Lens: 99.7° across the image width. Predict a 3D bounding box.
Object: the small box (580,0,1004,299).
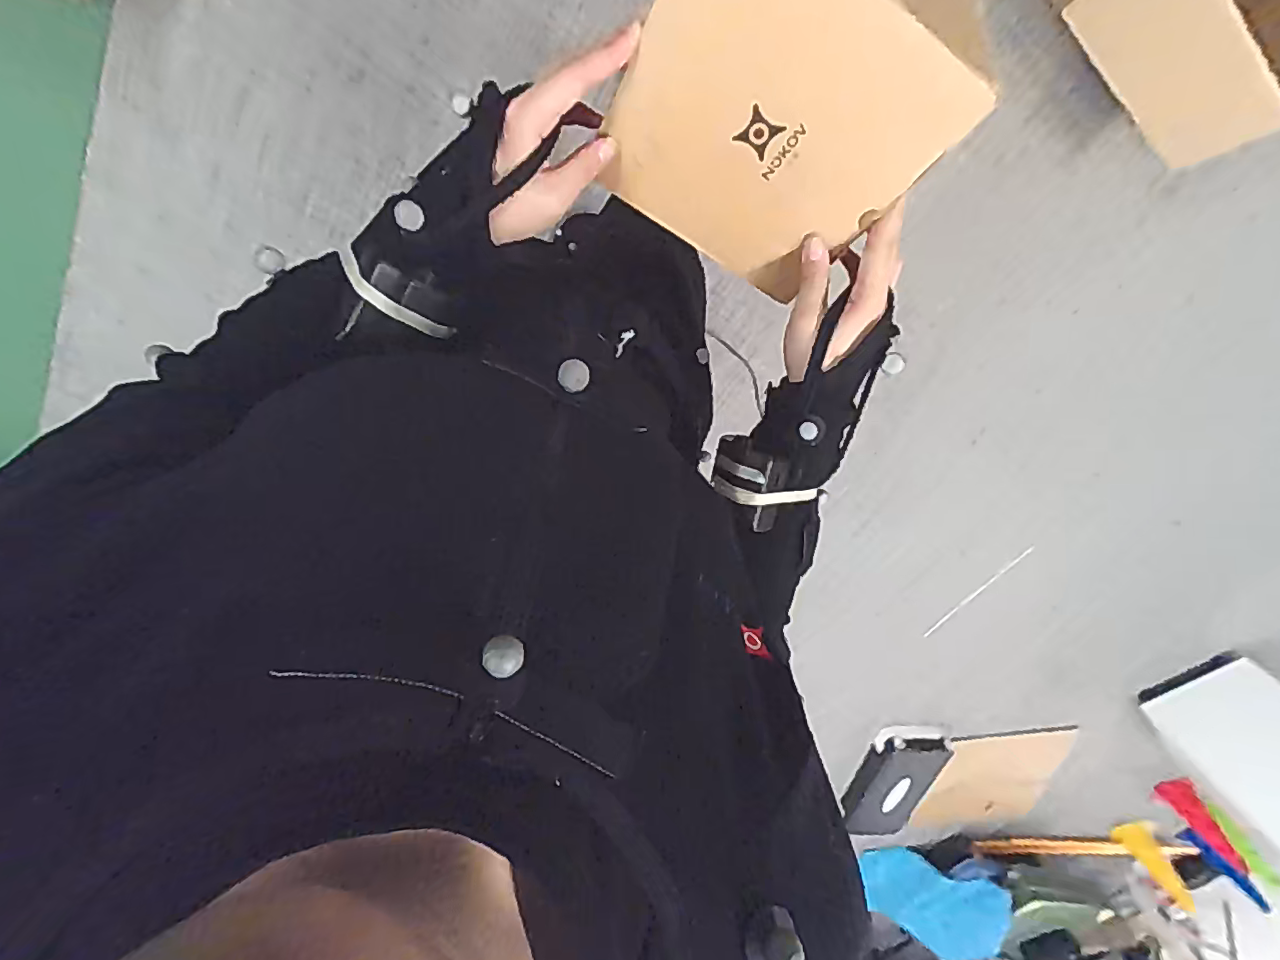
[{"bbox_3d":[0.089,-0.264,0.350,0.179,0.176,0.168,26,146,-17],"label":"small box"}]
